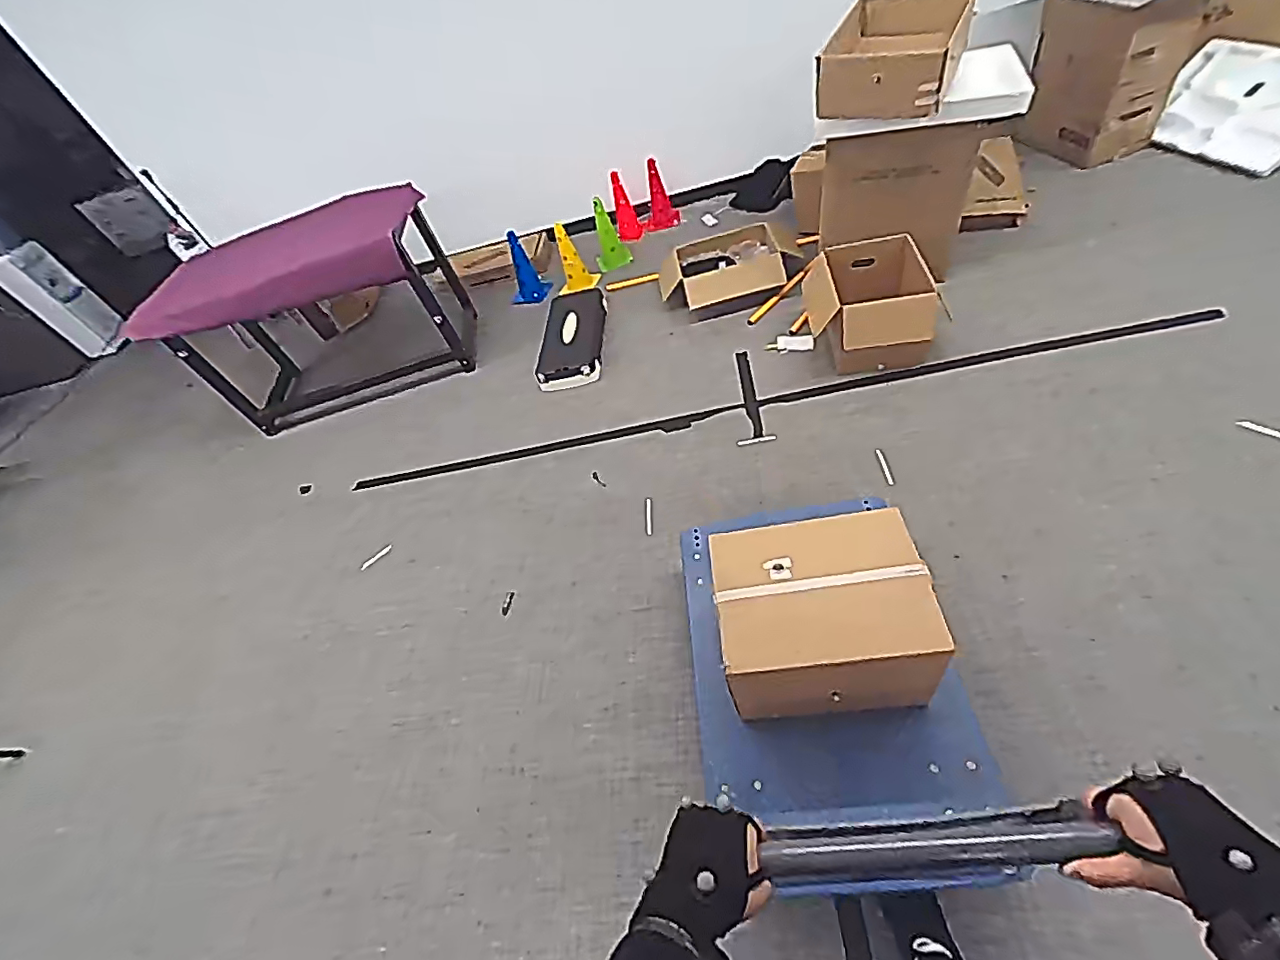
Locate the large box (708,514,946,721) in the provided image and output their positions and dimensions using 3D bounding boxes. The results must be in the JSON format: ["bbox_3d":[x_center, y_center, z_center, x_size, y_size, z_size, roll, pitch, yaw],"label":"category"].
[{"bbox_3d":[0.388,0.316,1.198,0.408,0.320,0.320,-11,49,11],"label":"large box"}]
